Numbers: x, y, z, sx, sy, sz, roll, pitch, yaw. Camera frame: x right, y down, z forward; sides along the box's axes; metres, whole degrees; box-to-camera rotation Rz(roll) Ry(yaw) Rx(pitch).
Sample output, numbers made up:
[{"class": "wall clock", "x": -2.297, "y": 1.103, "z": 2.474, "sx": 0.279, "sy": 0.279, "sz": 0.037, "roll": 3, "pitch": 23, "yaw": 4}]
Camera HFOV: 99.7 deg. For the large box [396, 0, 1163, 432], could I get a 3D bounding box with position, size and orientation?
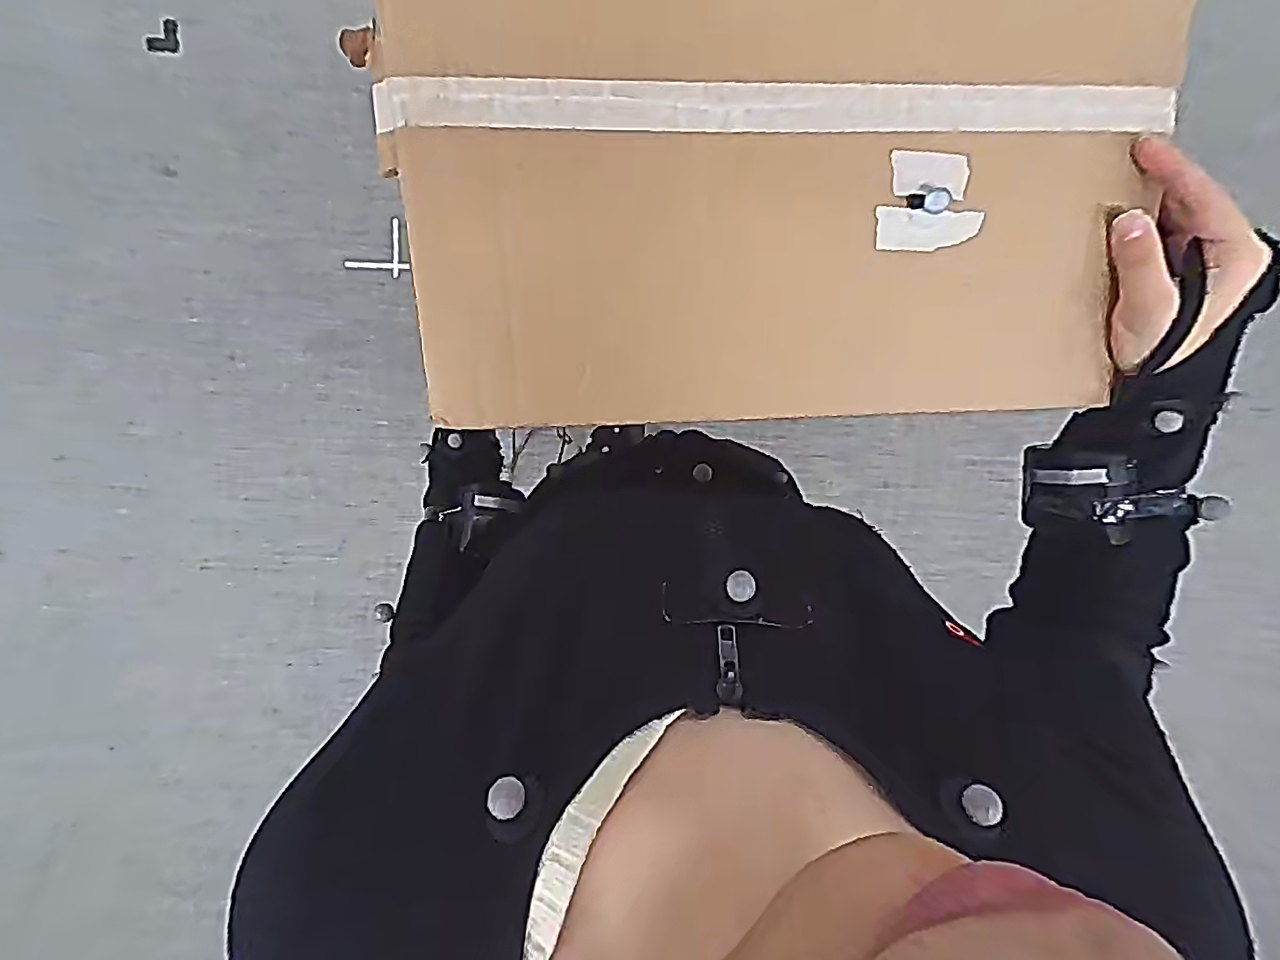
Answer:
[{"class": "large box", "x": 0.064, "y": -0.224, "z": 0.430, "sx": 0.408, "sy": 0.320, "sz": 0.320, "roll": -3, "pitch": 105, "yaw": -6}]
